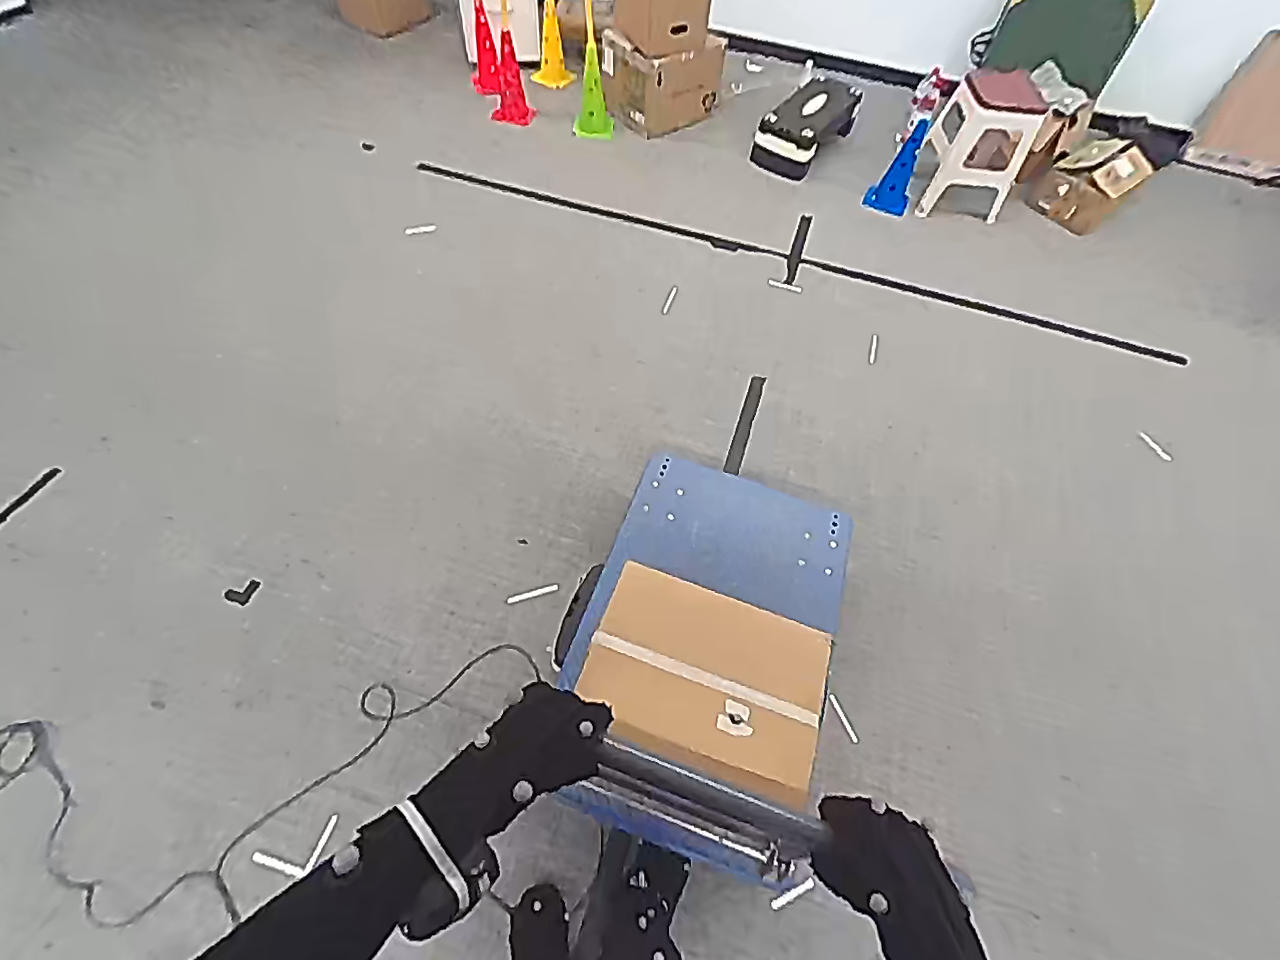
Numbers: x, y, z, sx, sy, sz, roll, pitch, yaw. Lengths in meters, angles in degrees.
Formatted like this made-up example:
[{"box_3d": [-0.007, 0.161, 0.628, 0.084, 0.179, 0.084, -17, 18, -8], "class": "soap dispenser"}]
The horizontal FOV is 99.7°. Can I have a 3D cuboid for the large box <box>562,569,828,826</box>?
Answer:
[{"box_3d": [0.093, 0.425, 1.050, 0.408, 0.320, 0.320, 20, 60, 6], "class": "large box"}]
